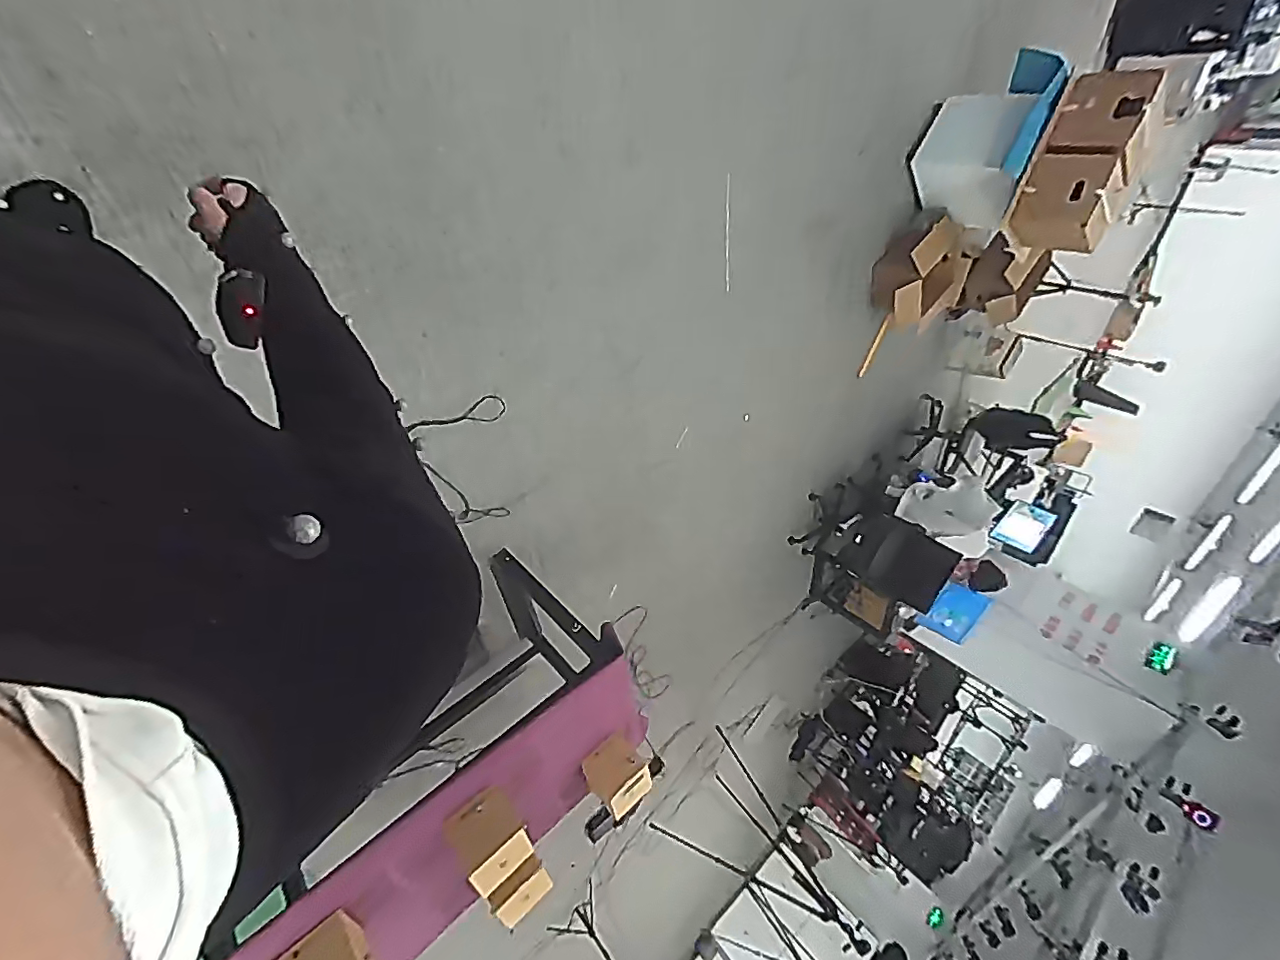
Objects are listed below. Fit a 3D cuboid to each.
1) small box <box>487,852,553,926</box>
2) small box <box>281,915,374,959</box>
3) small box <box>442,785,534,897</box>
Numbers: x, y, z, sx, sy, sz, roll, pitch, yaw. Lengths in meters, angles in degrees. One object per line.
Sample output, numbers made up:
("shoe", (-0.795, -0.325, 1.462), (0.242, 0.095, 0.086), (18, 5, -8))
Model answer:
("small box", (-0.398, 1.225, 1.682), (0.168, 0.176, 0.179), (-33, 135, -28))
("small box", (-0.734, 1.188, 1.281), (0.168, 0.176, 0.179), (-31, 137, -32))
("small box", (-0.419, 0.992, 1.497), (0.168, 0.176, 0.179), (-32, 136, -31))
